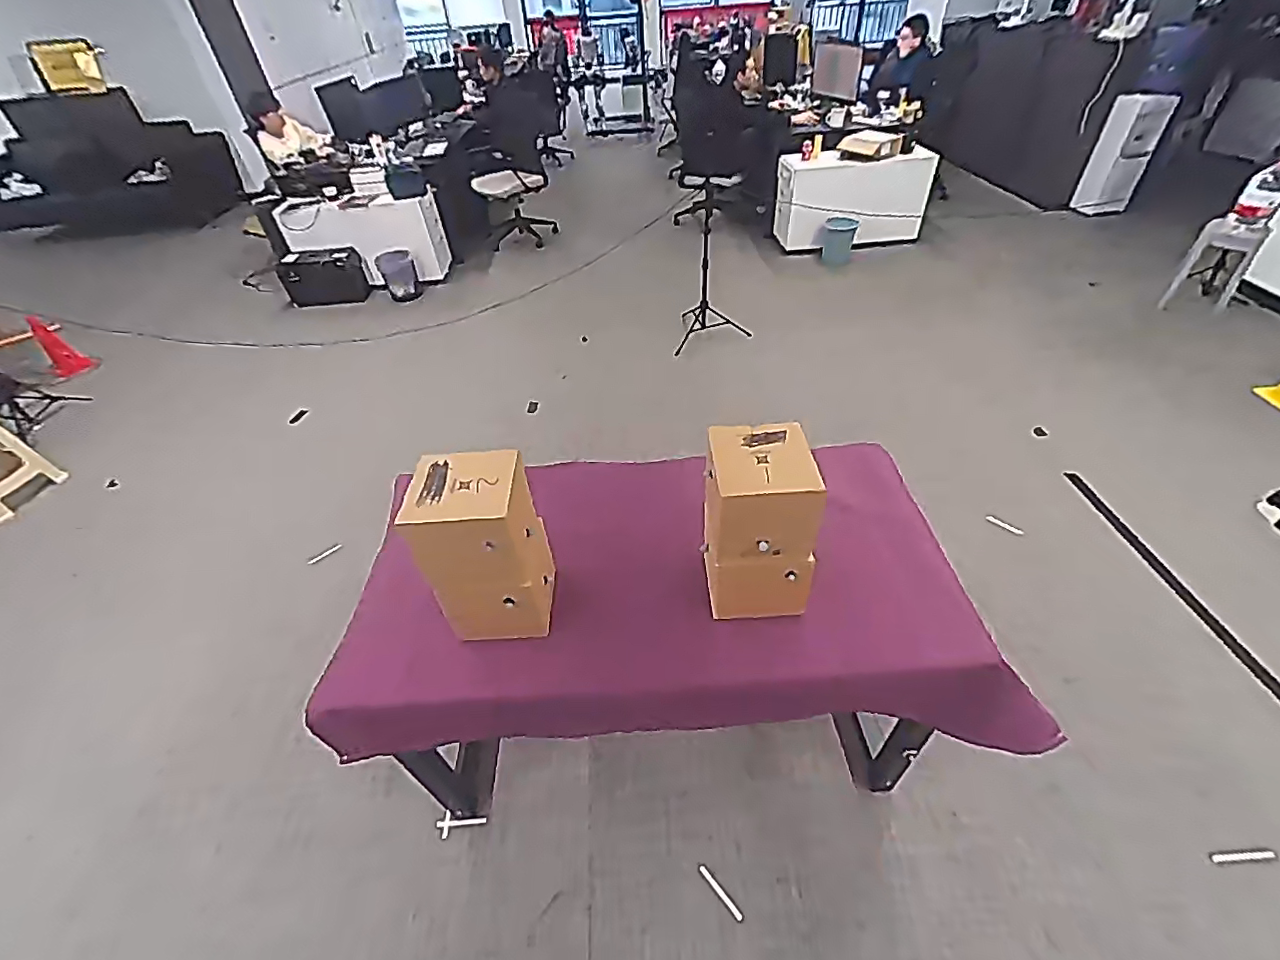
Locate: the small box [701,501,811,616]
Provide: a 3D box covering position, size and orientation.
[{"bbox_3d":[0.214,0.149,1.046,0.179,0.176,0.168,-4,43,1],"label":"small box"}]

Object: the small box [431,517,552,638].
[{"bbox_3d":[-0.273,0.190,1.042,0.179,0.176,0.168,-3,43,2],"label":"small box"}]

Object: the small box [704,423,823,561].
[{"bbox_3d":[0.202,0.021,0.943,0.168,0.176,0.179,-4,43,1],"label":"small box"}]
